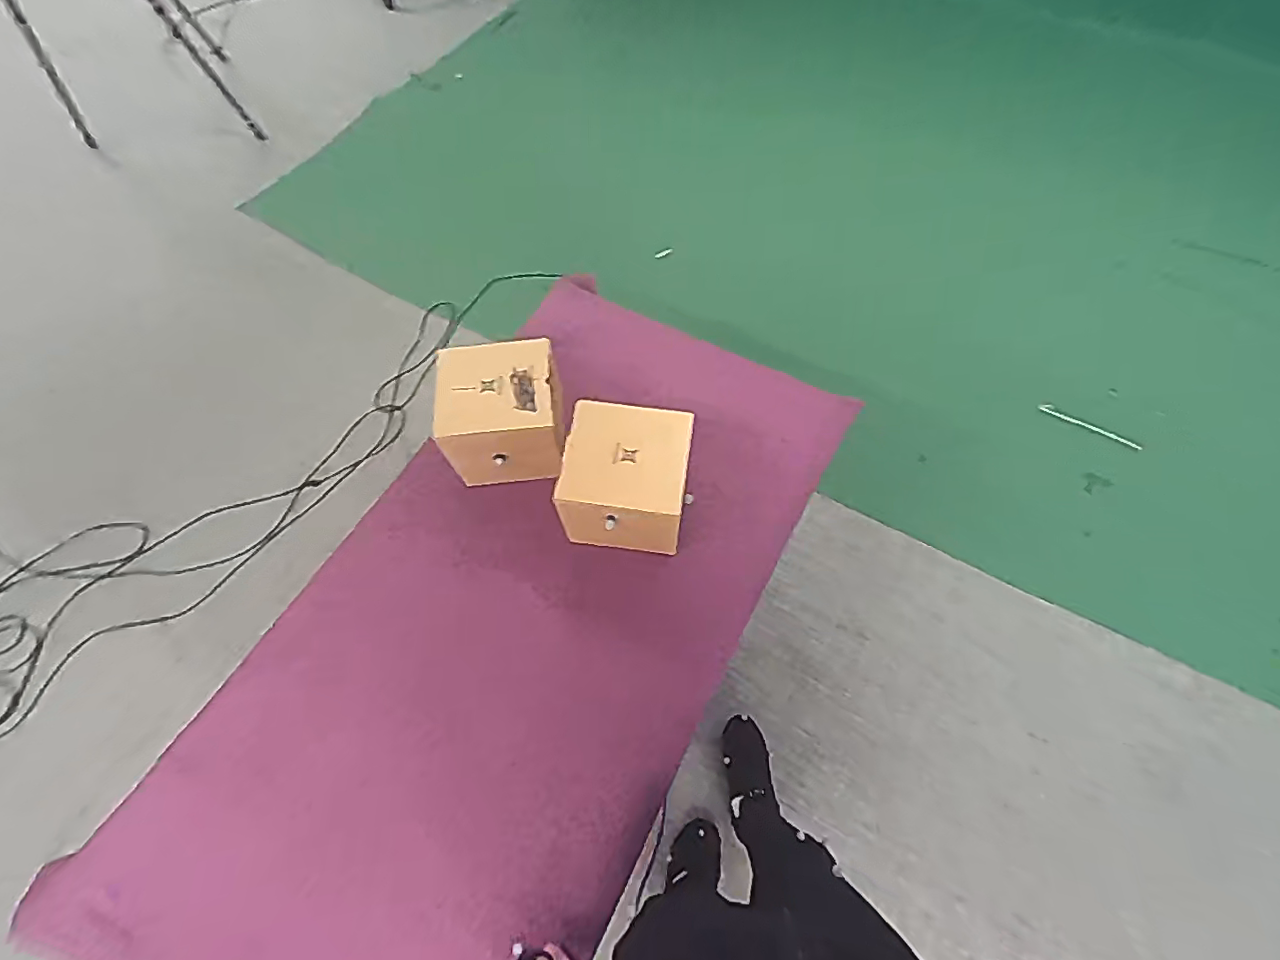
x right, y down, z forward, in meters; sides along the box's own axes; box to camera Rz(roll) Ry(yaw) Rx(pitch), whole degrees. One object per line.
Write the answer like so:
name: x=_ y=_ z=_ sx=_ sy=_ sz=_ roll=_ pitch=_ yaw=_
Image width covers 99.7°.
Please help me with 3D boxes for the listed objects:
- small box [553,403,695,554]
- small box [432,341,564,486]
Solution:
small box: x=-0.017 y=0.005 z=0.825 sx=0.179 sy=0.176 sz=0.168 roll=7 pitch=64 yaw=6
small box: x=-0.218 y=-0.102 z=0.879 sx=0.179 sy=0.176 sz=0.168 roll=-6 pitch=64 yaw=-1
